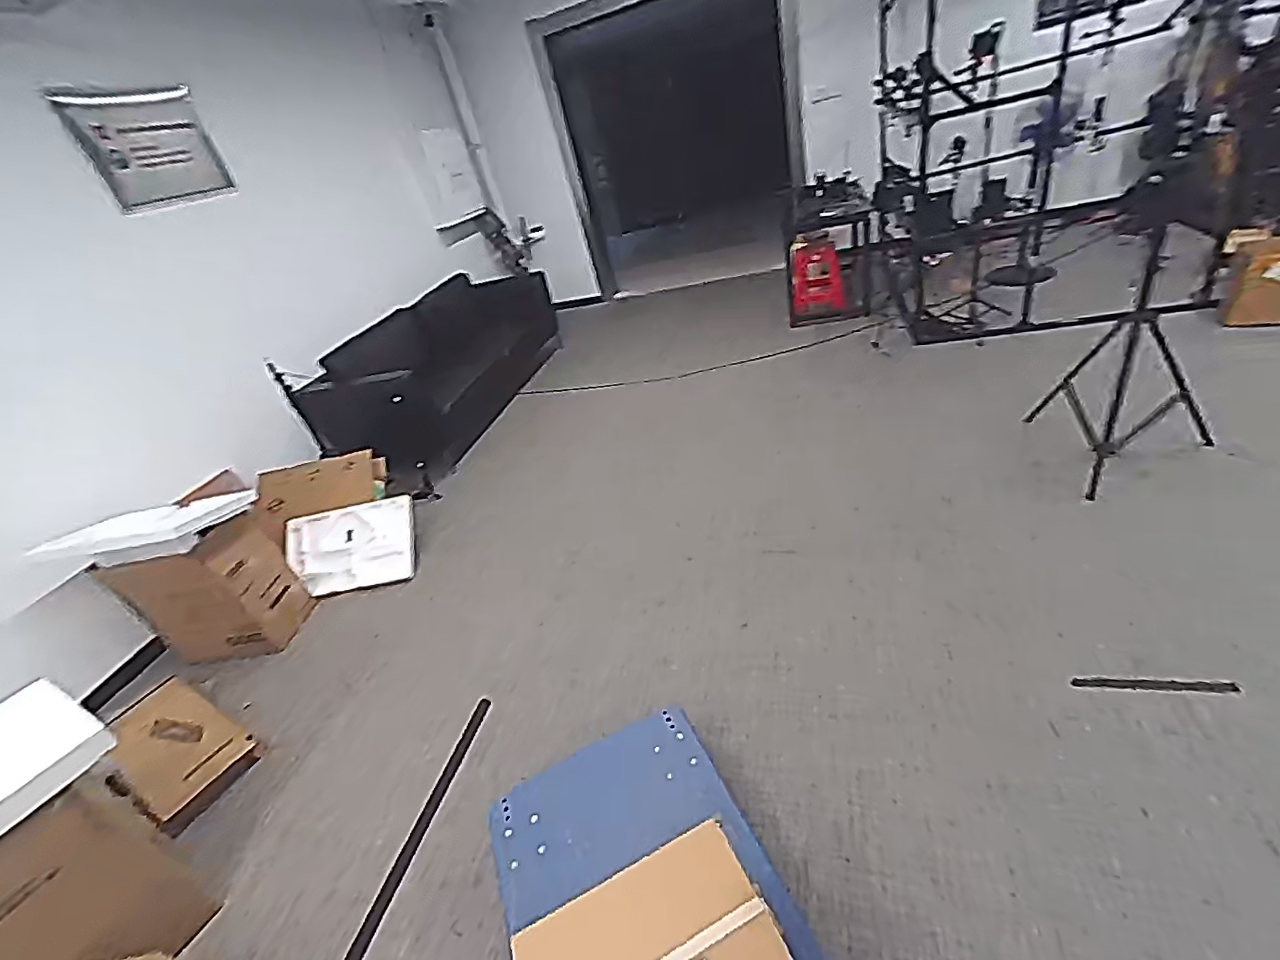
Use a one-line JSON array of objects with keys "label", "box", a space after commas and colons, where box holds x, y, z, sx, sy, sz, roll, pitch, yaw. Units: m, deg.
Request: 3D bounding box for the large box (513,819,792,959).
[{"label": "large box", "box": [0.052, 0.890, 0.908, 0.408, 0.320, 0.320, -23, 33, -13]}]
